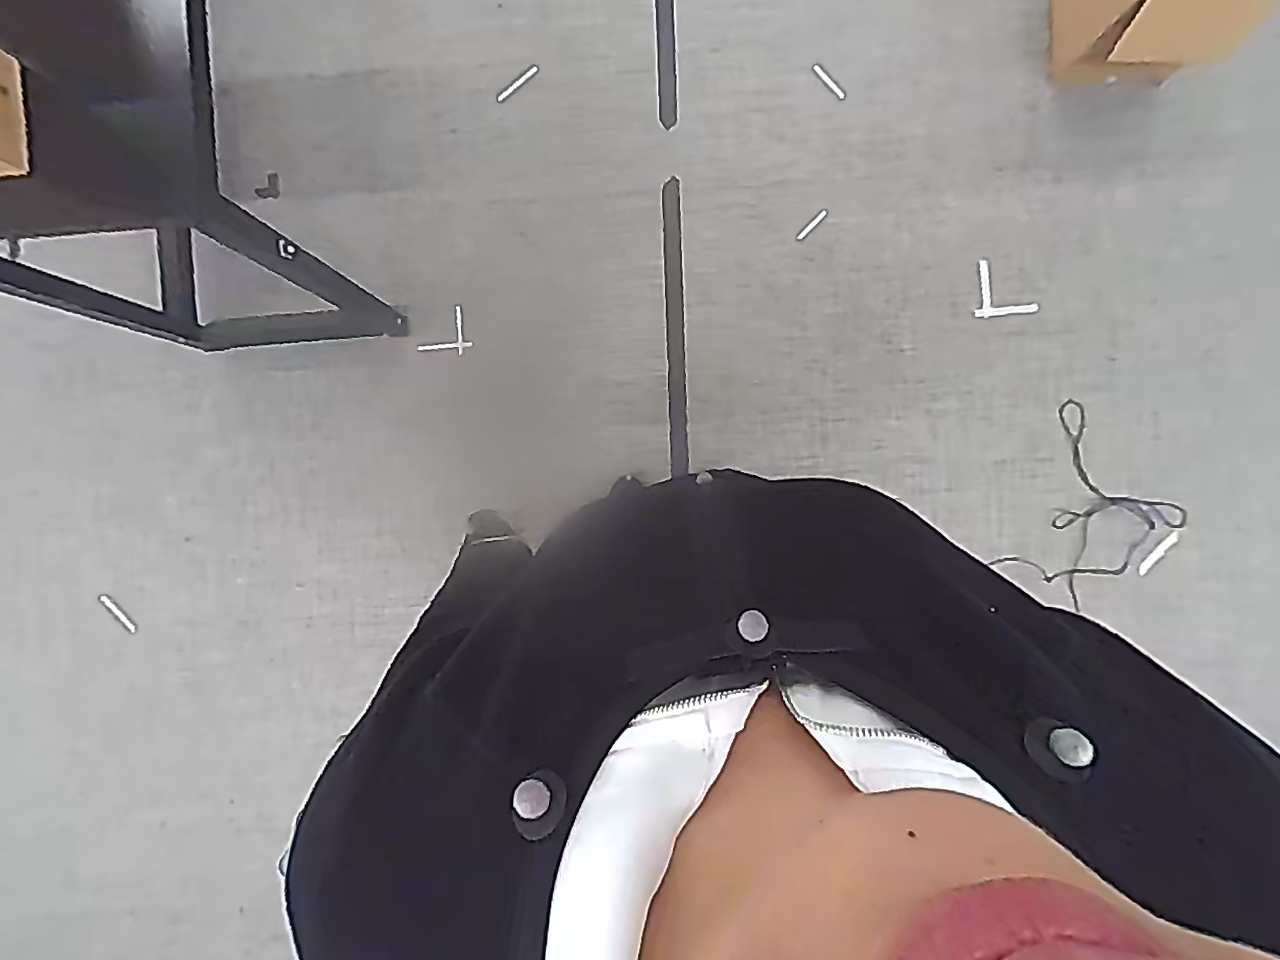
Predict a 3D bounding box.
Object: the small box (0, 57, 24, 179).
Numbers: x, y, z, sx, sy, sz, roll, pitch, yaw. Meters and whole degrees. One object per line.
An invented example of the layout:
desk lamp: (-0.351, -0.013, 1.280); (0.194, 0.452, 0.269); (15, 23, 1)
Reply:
small box: (-0.977, -0.515, 0.710); (0.179, 0.176, 0.168); (-5, 89, 1)
